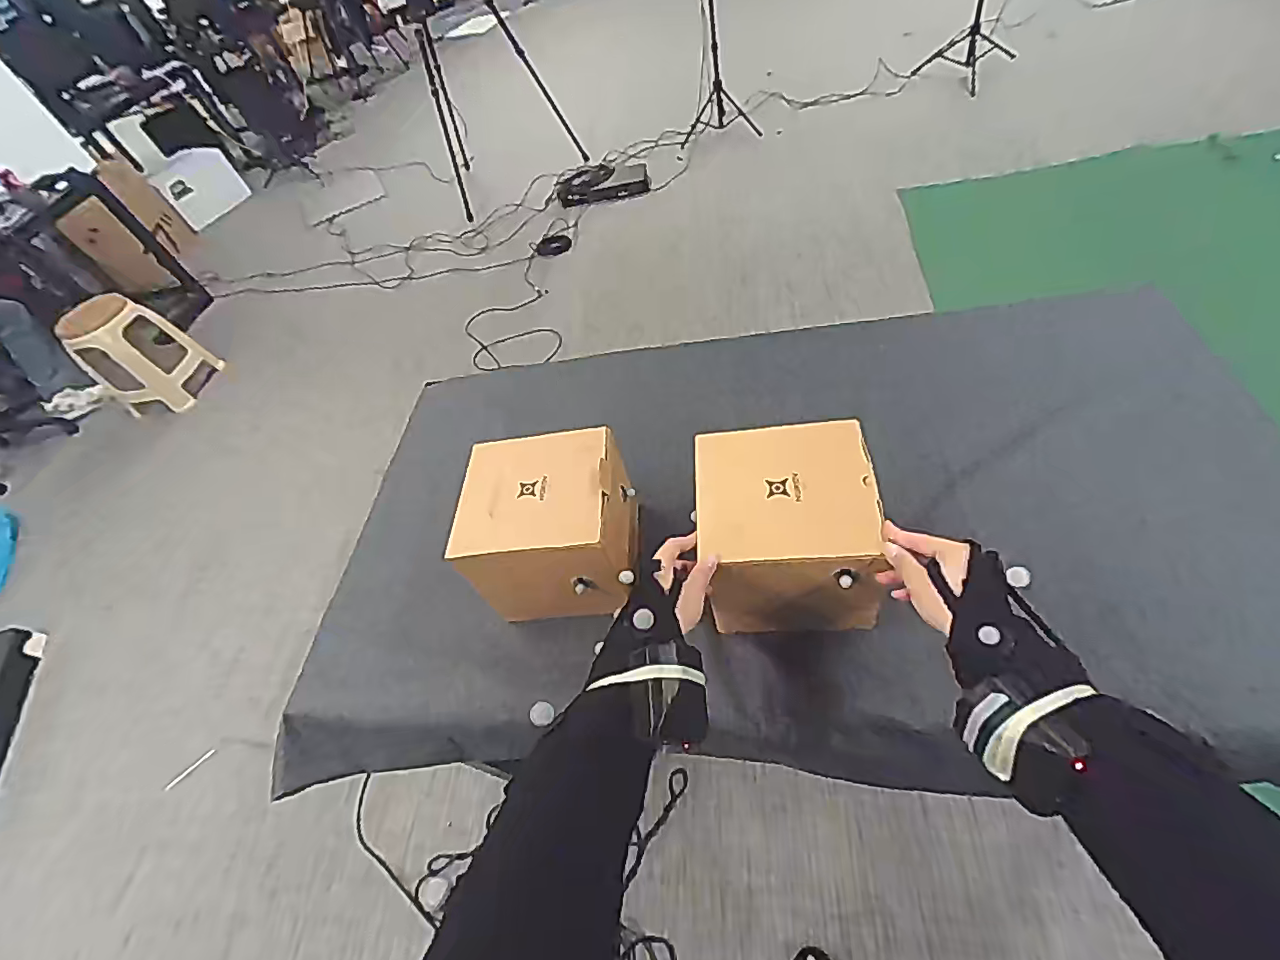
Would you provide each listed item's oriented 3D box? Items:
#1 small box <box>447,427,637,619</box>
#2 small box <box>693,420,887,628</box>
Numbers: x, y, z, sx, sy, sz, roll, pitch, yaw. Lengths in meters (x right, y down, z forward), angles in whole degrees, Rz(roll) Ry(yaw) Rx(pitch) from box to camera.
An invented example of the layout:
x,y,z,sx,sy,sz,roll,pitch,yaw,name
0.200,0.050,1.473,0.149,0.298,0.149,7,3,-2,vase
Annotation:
x,y,z,sx,sy,sz,roll,pitch,yaw,name
-0.104,0.059,0.673,0.179,0.176,0.168,-8,50,11,small box
0.158,0.057,0.604,0.179,0.176,0.168,-5,52,11,small box
